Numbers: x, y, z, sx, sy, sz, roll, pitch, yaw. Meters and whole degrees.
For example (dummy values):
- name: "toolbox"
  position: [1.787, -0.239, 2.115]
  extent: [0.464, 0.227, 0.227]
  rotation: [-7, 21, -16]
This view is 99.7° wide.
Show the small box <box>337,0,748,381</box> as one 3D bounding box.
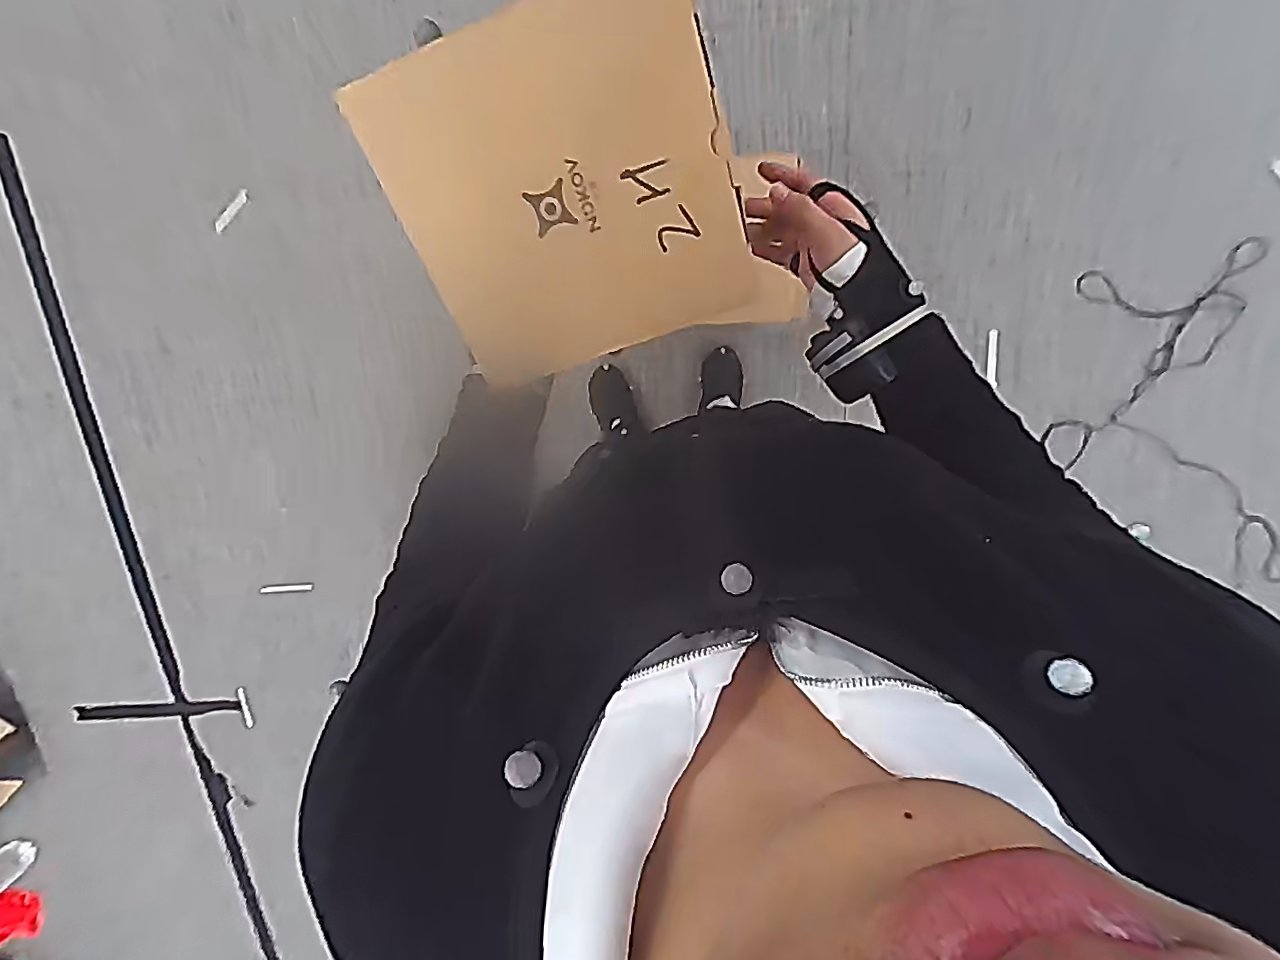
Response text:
- name: "small box"
  position: [-0.043, -0.192, 0.356]
  extent: [0.179, 0.176, 0.168]
  rotation: [-17, 121, 10]
